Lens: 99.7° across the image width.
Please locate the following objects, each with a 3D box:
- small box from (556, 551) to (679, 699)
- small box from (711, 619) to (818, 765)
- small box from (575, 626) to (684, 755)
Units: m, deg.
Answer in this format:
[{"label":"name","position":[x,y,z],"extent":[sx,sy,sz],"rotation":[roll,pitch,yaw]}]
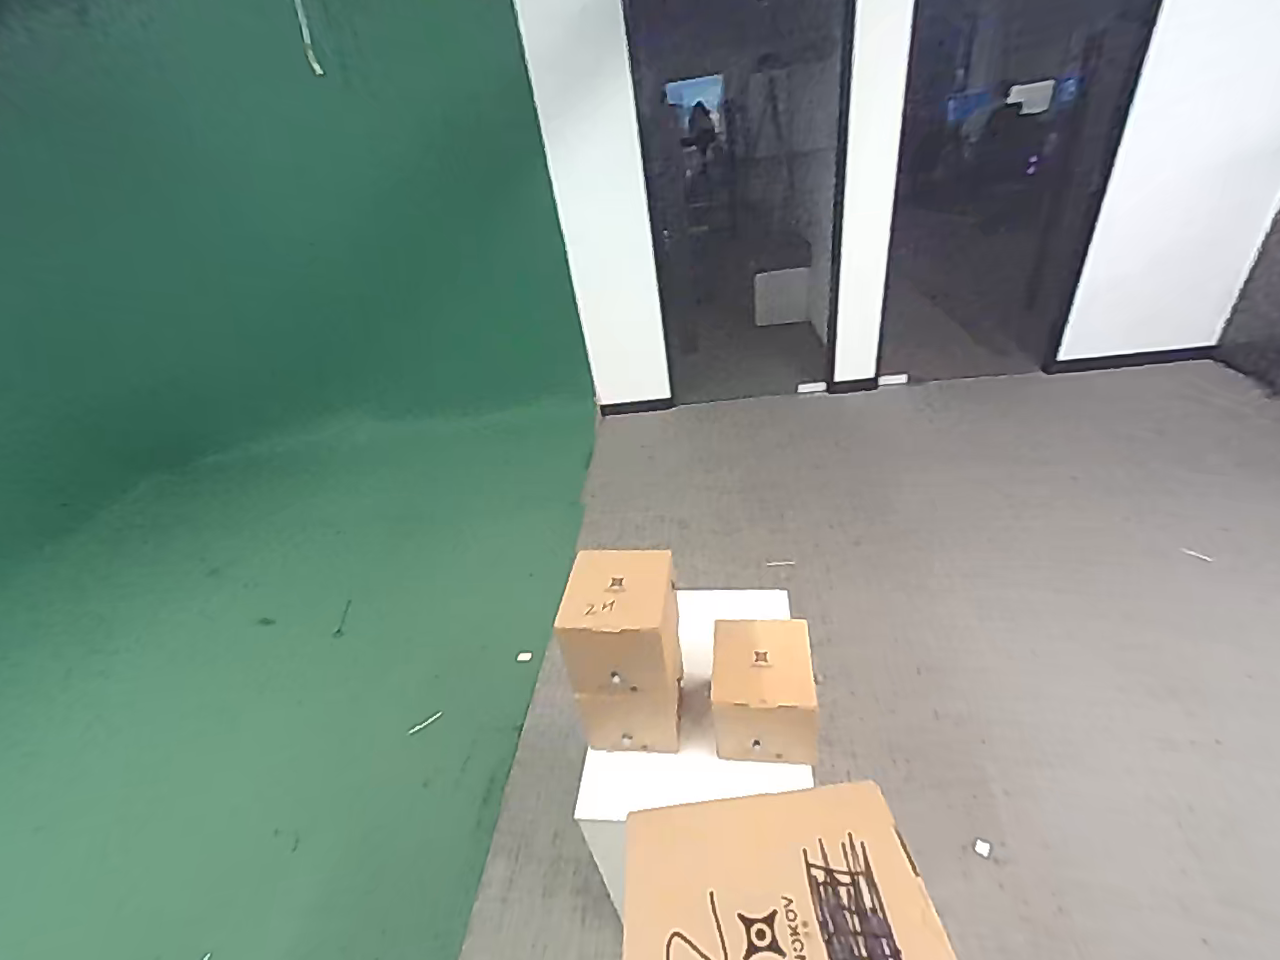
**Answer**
[{"label":"small box","position":[-0.027,0.239,0.912],"extent":[0.168,0.176,0.179],"rotation":[-2,34,11]},{"label":"small box","position":[0.218,0.369,0.954],"extent":[0.168,0.176,0.179],"rotation":[-3,35,12]},{"label":"small box","position":[-0.009,0.377,1.001],"extent":[0.168,0.176,0.179],"rotation":[-2,35,10]}]
